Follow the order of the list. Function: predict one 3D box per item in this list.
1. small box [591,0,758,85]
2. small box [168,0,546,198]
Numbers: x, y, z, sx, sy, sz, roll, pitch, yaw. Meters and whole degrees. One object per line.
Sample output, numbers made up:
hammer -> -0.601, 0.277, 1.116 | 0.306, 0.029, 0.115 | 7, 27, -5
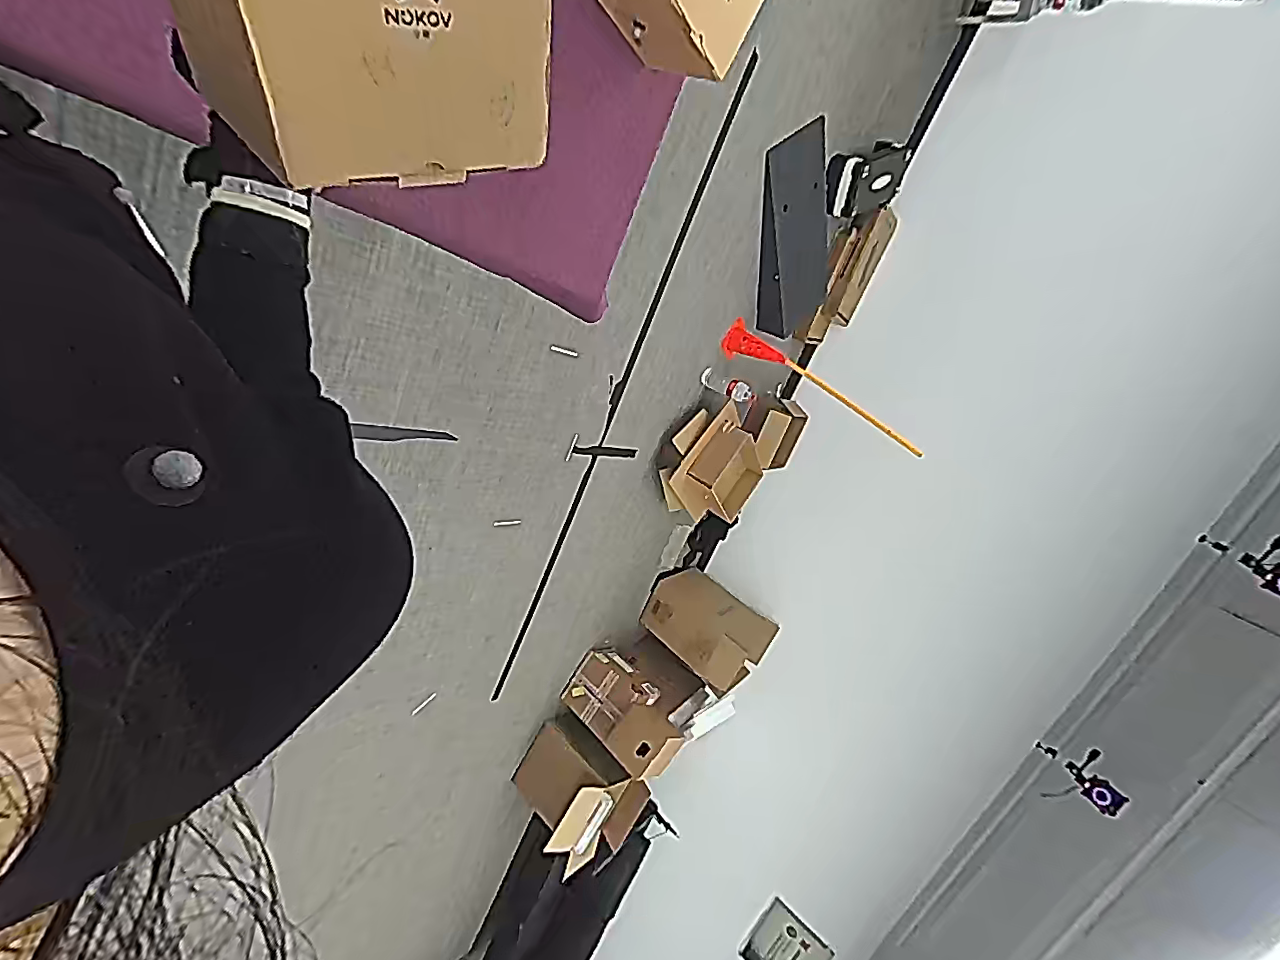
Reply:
small box -> 0.057, -0.739, 0.798 | 0.168, 0.176, 0.179 | 7, 117, -59
small box -> -0.171, -0.297, 0.319 | 0.168, 0.176, 0.179 | -28, 150, -33
